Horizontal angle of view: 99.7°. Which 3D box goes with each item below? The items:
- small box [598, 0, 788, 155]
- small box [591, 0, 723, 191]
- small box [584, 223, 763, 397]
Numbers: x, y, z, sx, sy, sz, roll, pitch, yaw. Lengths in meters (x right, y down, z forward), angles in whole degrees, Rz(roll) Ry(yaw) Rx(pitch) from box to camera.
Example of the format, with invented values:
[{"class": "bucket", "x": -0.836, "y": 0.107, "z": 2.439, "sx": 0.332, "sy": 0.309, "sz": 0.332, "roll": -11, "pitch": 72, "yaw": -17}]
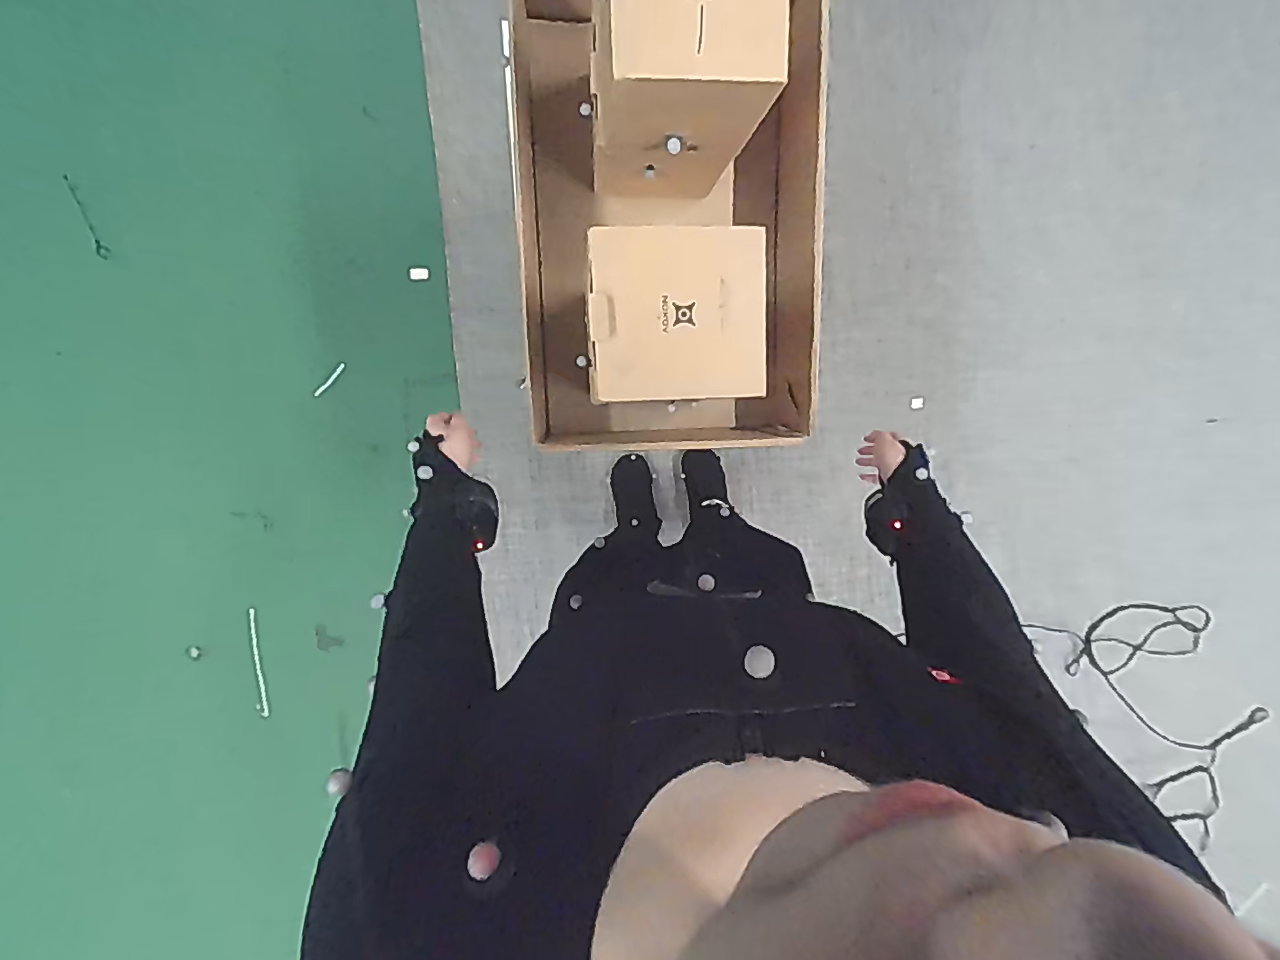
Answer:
[{"class": "small box", "x": 0.044, "y": -0.468, "z": 0.559, "sx": 0.168, "sy": 0.176, "sz": 0.179, "roll": -3, "pitch": 101, "yaw": -6}, {"class": "small box", "x": 0.024, "y": -0.501, "z": 0.719, "sx": 0.179, "sy": 0.176, "sz": 0.168, "roll": -2, "pitch": 101, "yaw": -6}, {"class": "small box", "x": 0.028, "y": -0.179, "z": 0.611, "sx": 0.179, "sy": 0.176, "sz": 0.168, "roll": -4, "pitch": 100, "yaw": -7}]
